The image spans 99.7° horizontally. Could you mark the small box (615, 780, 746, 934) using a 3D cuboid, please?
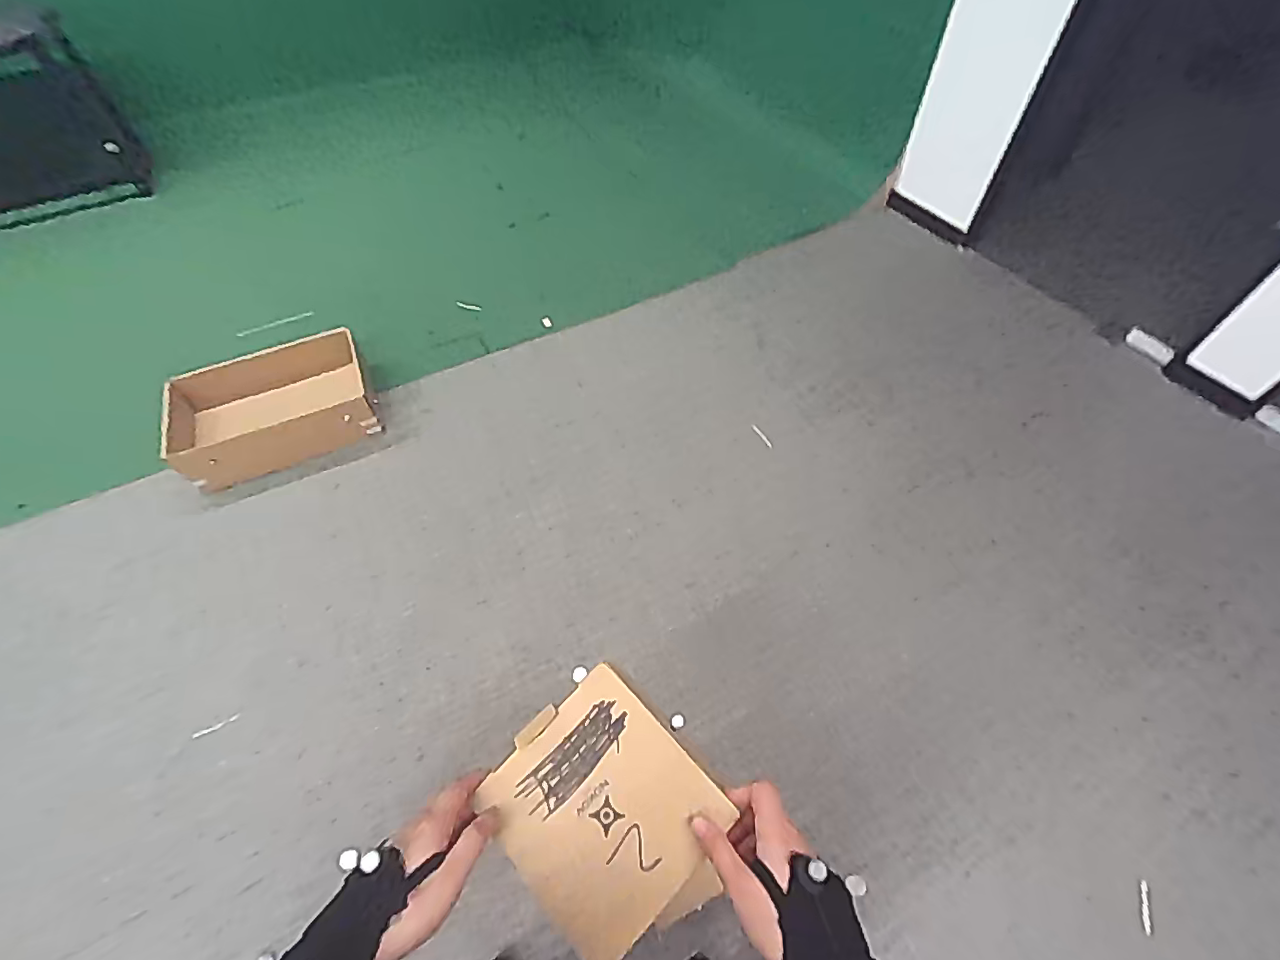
[{"bbox_3d":[0.069,0.682,0.987,0.179,0.176,0.168,-23,55,-13],"label":"small box"}]
